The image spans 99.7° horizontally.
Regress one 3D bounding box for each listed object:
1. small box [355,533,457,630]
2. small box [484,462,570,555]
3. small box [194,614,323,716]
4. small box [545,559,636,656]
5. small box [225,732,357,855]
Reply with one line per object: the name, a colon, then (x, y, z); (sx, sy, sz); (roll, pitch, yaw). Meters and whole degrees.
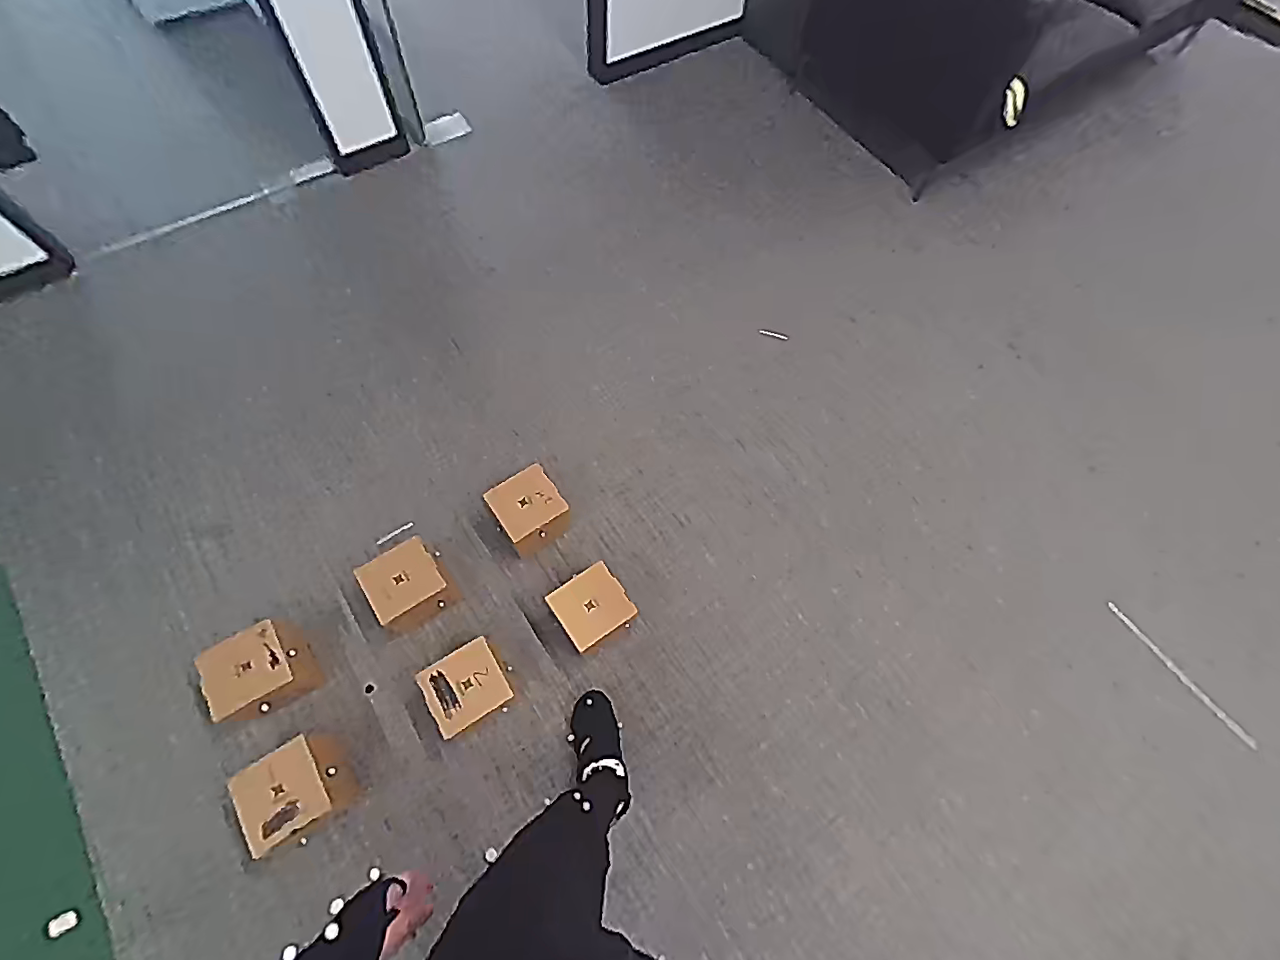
small box: (-0.597, 0.269, 1.410); (0.179, 0.176, 0.168); (-31, 71, -16)
small box: (-0.307, 0.086, 1.512); (0.179, 0.176, 0.168); (-32, 73, -17)
small box: (-0.911, 0.450, 1.304); (0.179, 0.176, 0.168); (-28, 71, -15)
small box: (-0.128, 0.341, 1.418); (0.179, 0.176, 0.168); (-32, 72, -18)
small box: (-0.770, 0.686, 1.210); (0.168, 0.176, 0.179); (-29, 71, -16)
